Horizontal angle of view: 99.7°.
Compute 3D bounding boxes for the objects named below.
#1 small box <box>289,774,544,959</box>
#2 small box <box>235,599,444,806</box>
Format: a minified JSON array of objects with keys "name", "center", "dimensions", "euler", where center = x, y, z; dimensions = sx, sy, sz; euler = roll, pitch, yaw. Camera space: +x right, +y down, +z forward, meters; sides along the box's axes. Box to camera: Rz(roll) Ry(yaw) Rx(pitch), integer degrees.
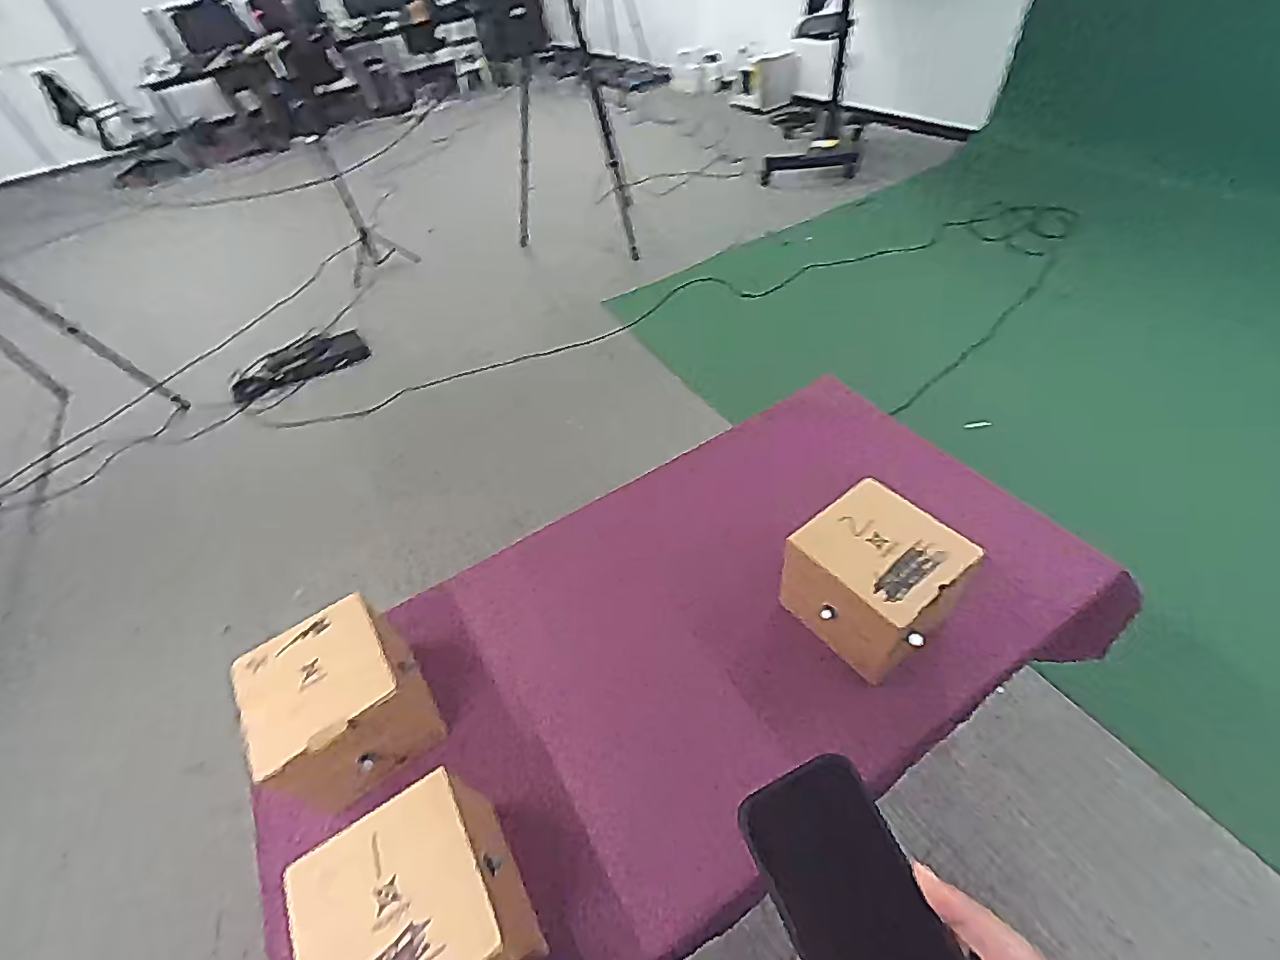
[{"name":"small box","center":[-0.219,0.450,0.556],"dimensions":[0.168,0.176,0.179],"euler":[-29,49,-17]},{"name":"small box","center":[-0.389,0.301,0.720],"dimensions":[0.168,0.176,0.179],"euler":[-32,52,-20]}]
